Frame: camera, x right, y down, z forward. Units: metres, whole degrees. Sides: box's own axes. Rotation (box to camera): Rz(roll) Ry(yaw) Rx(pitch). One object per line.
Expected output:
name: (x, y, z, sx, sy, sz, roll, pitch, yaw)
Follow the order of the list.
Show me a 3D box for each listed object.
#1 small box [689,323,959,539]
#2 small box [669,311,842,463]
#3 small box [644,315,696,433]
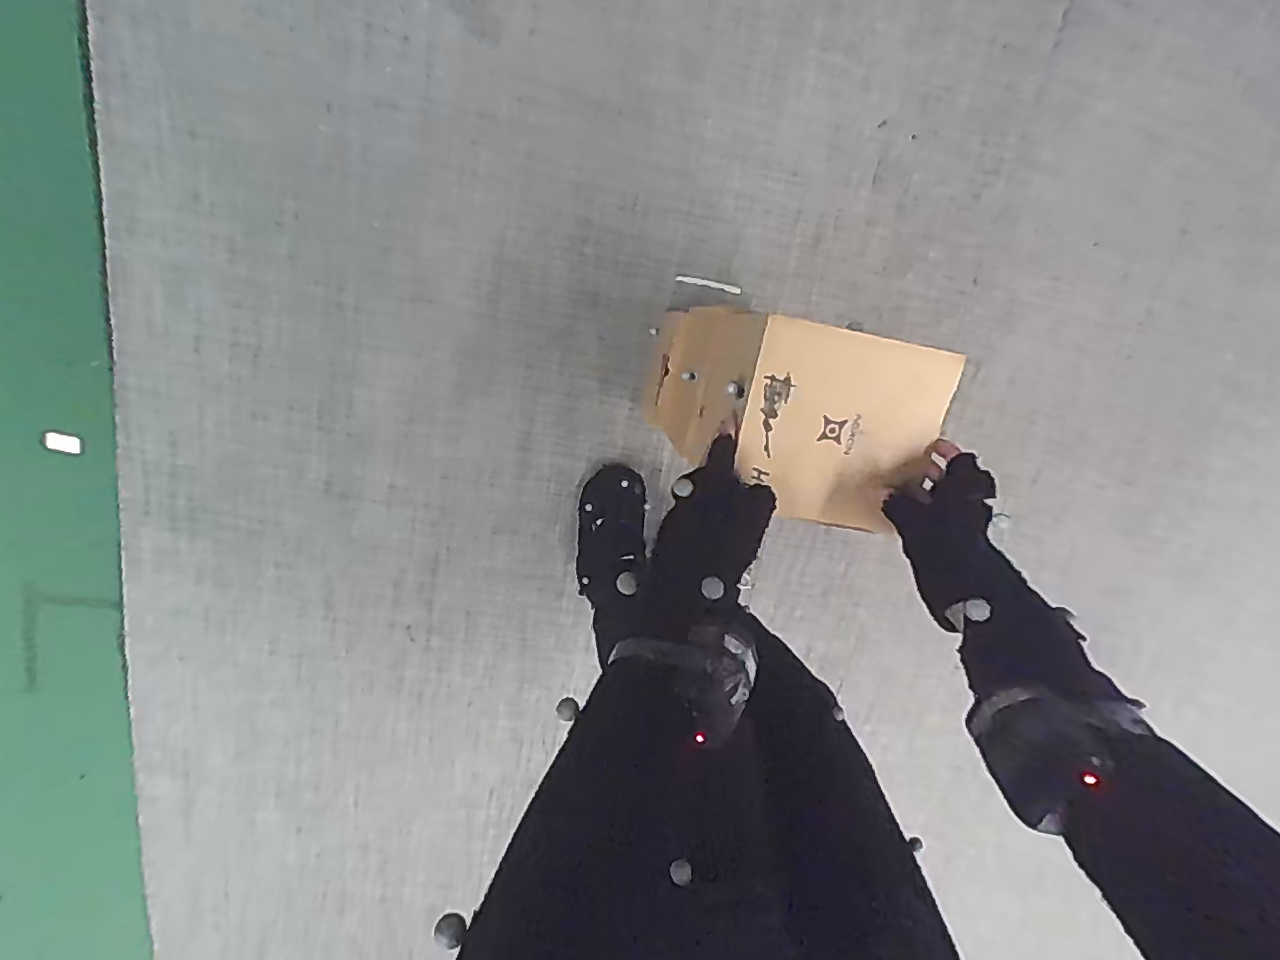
small box: (0.162, -0.059, 0.540, 0.179, 0.176, 0.168, 10, 105, -8)
small box: (0.140, -0.111, 0.694, 0.168, 0.176, 0.179, 11, 106, -7)
small box: (0.111, -0.154, 0.847, 0.179, 0.176, 0.168, 12, 105, -10)
